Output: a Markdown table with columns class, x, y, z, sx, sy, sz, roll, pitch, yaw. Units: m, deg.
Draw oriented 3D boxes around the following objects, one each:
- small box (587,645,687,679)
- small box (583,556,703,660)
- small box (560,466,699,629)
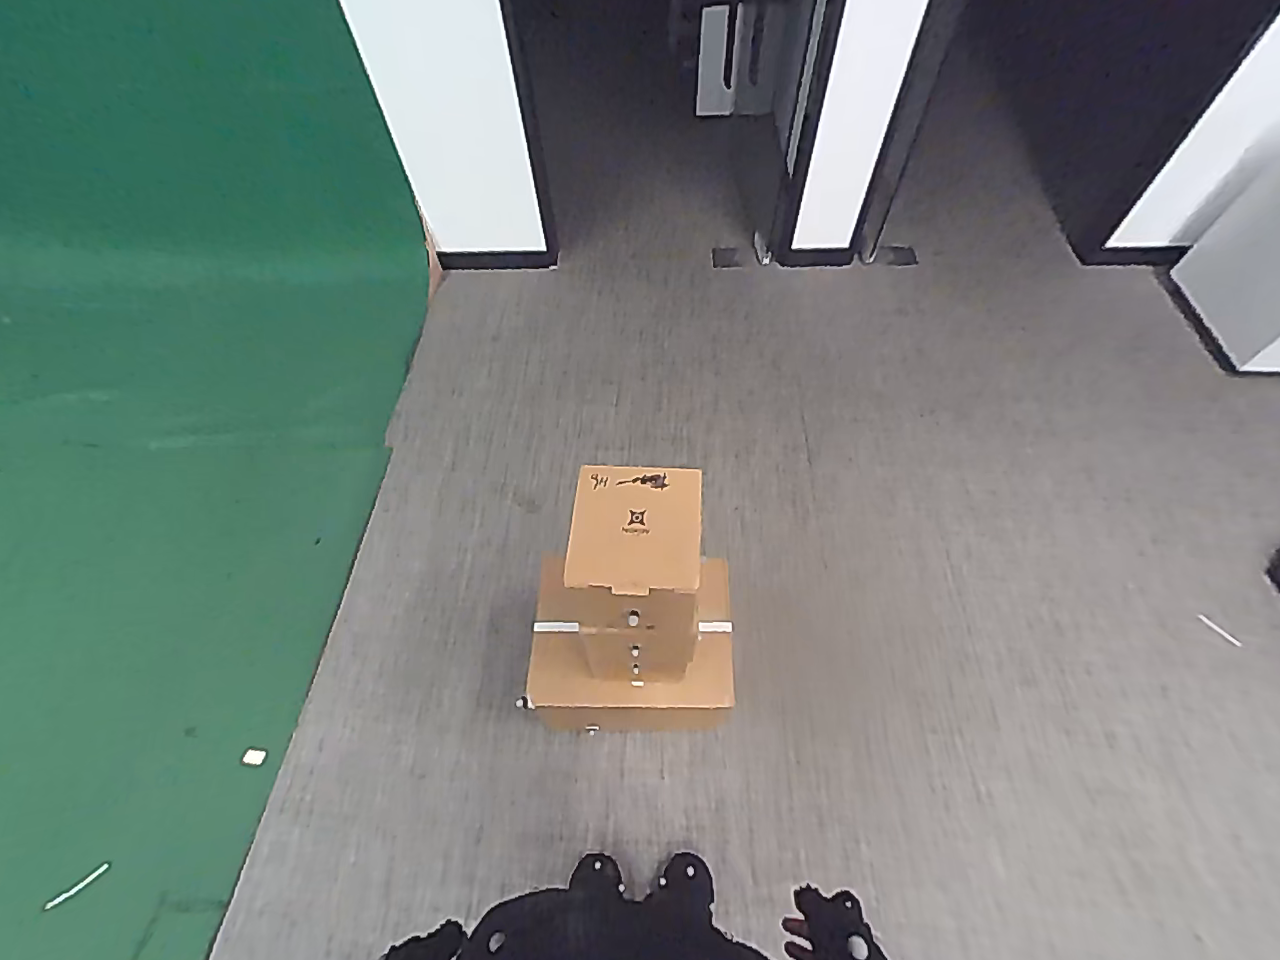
| class | x | y | z | sx | sy | sz | roll | pitch | yaw |
| --- | --- | --- | --- | --- | --- | --- | --- | --- | --- |
| small box | 0.001 | 0.276 | 1.030 | 0.179 | 0.176 | 0.168 | 2 | 59 | 2 |
| small box | 0.003 | 0.194 | 0.888 | 0.179 | 0.176 | 0.168 | -2 | 59 | 0 |
| small box | -0.004 | 0.099 | 0.754 | 0.168 | 0.176 | 0.179 | 3 | 59 | 5 |
